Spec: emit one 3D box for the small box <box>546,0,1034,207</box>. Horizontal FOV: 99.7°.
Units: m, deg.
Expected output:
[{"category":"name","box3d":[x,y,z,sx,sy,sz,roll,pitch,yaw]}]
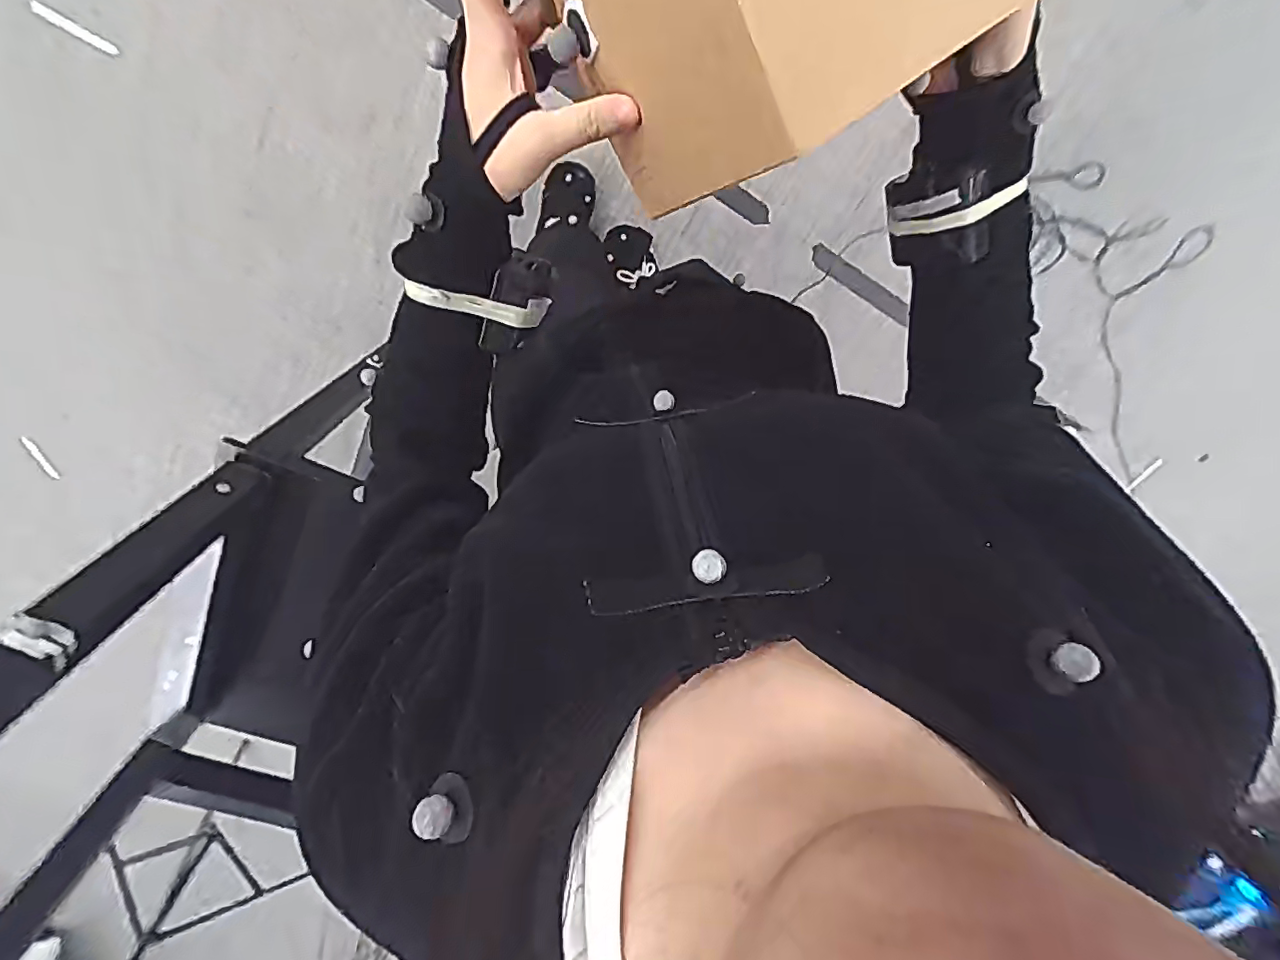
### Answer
[{"category":"small box","box3d":[0.065,-0.254,0.243,0.179,0.176,0.168,-36,114,-4]}]
